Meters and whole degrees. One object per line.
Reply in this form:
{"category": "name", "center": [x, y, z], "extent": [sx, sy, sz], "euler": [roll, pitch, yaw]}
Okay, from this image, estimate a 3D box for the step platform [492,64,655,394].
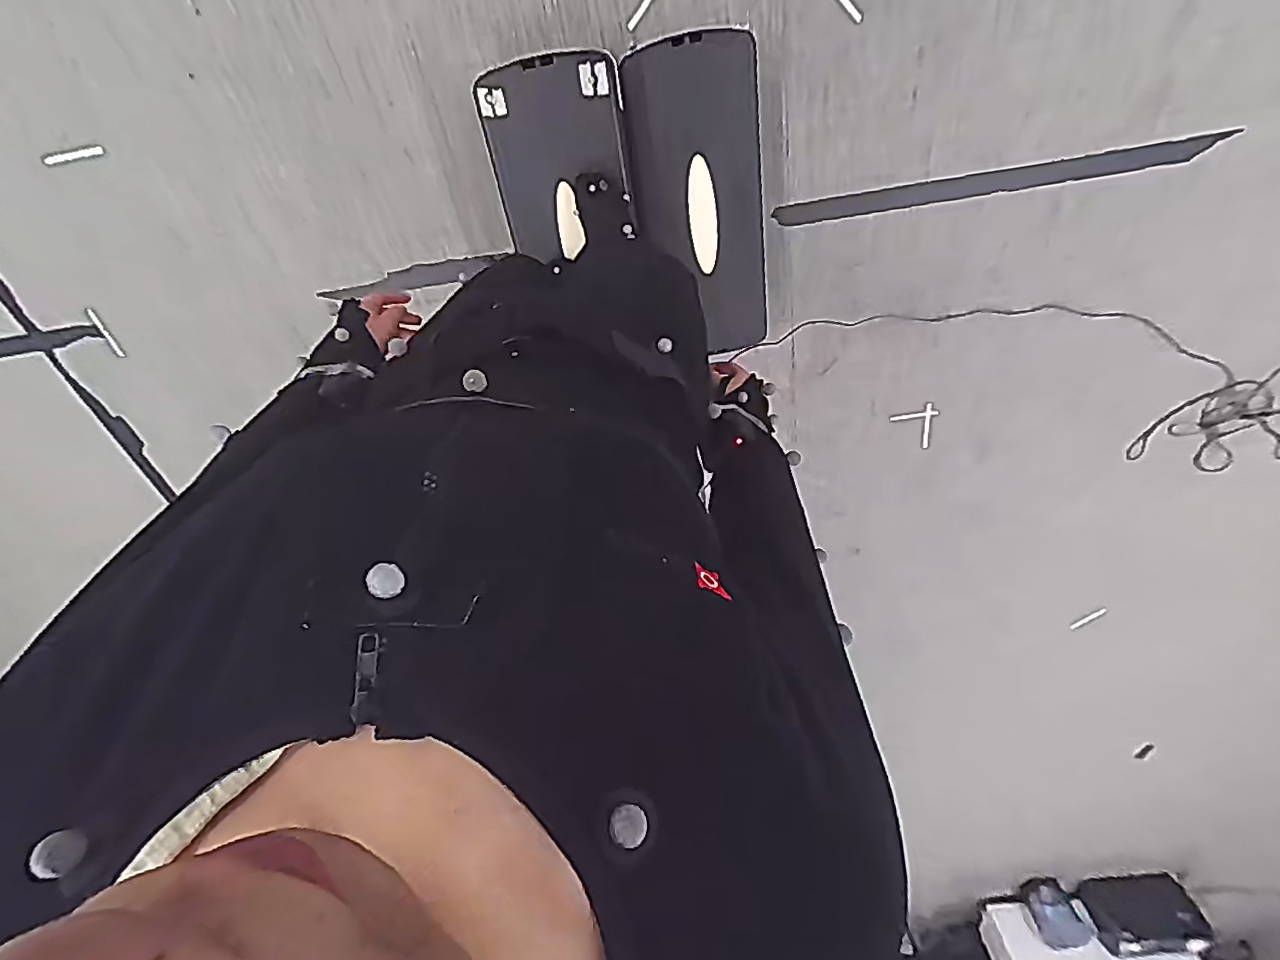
{"category": "step platform", "center": [-0.129, -0.543, 1.264], "extent": [0.286, 0.204, 0.684], "euler": [-4, 121, 3]}
